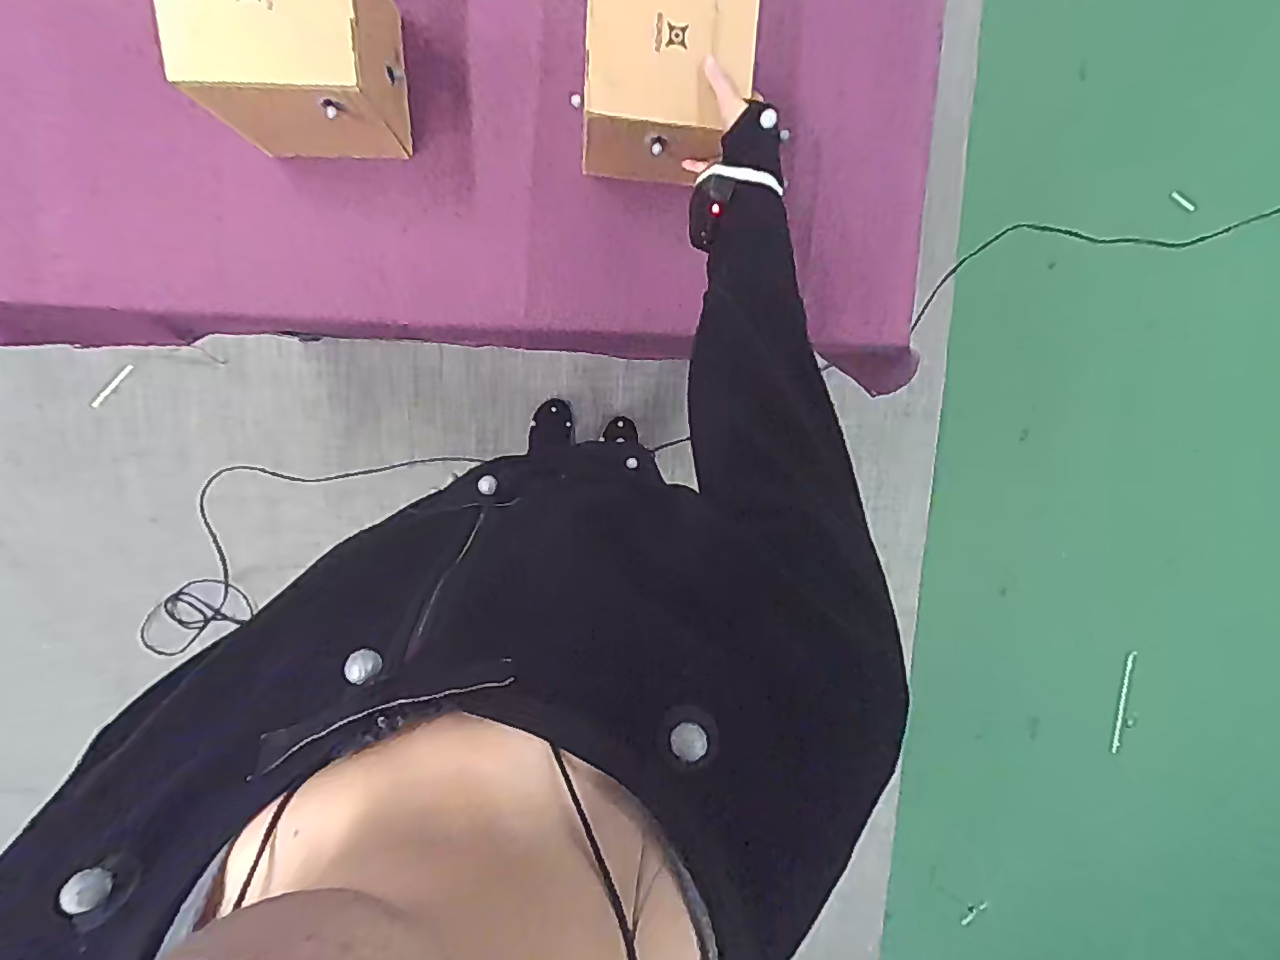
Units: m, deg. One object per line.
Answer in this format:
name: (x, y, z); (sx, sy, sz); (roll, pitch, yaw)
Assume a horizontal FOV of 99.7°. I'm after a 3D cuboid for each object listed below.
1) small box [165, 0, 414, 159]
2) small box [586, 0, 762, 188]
small box: (-0.366, -0.471, 0.588); (0.179, 0.176, 0.168); (-3, 99, -7)
small box: (0.028, -0.463, 0.632); (0.179, 0.176, 0.168); (3, 100, -7)
